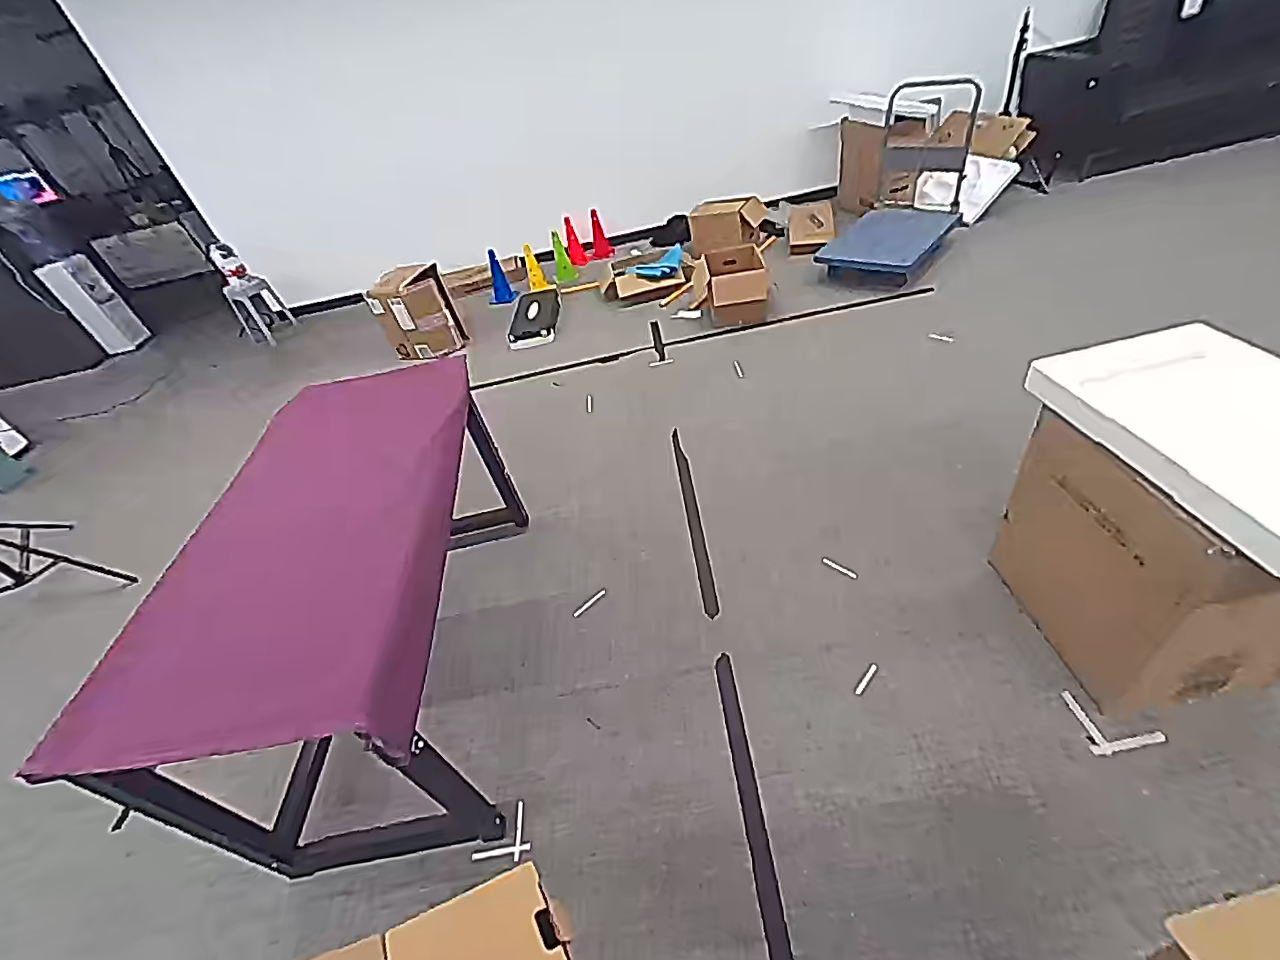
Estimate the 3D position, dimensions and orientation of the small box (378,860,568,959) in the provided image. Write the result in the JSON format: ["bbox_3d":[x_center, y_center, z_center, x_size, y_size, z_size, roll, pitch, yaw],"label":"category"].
[{"bbox_3d":[-0.175,0.585,0.595,0.179,0.176,0.168,-8,25,-30],"label":"small box"}]
